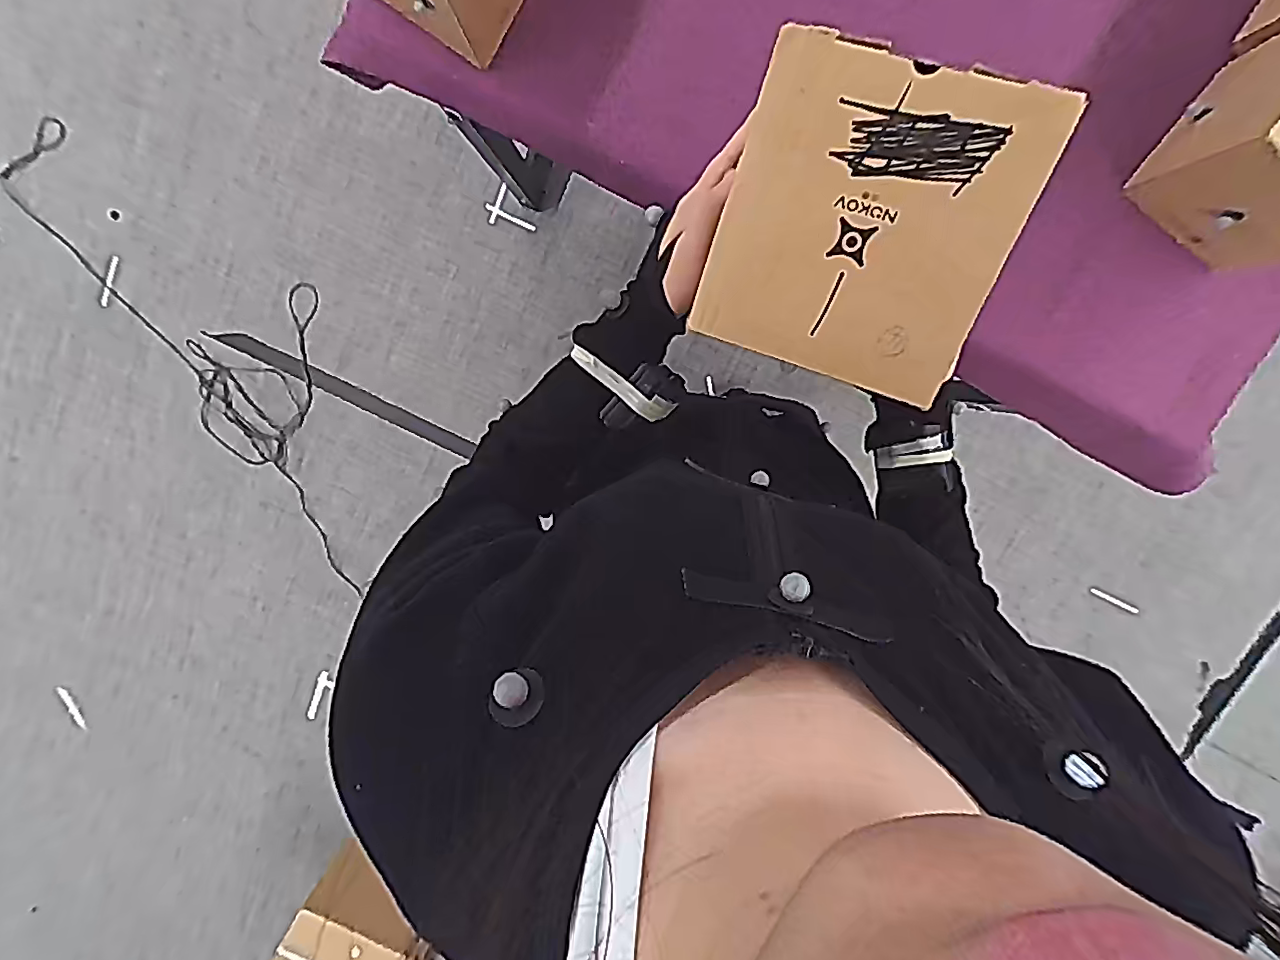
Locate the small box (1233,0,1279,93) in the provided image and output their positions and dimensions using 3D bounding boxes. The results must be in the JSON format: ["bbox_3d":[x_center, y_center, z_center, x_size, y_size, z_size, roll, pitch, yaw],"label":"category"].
[{"bbox_3d":[0.791,-0.522,0.546,0.168,0.176,0.179,29,100,-5],"label":"small box"}]

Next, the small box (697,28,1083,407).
[{"bbox_3d":[0.156,-0.174,0.398,0.168,0.176,0.179,21,111,9],"label":"small box"}]
